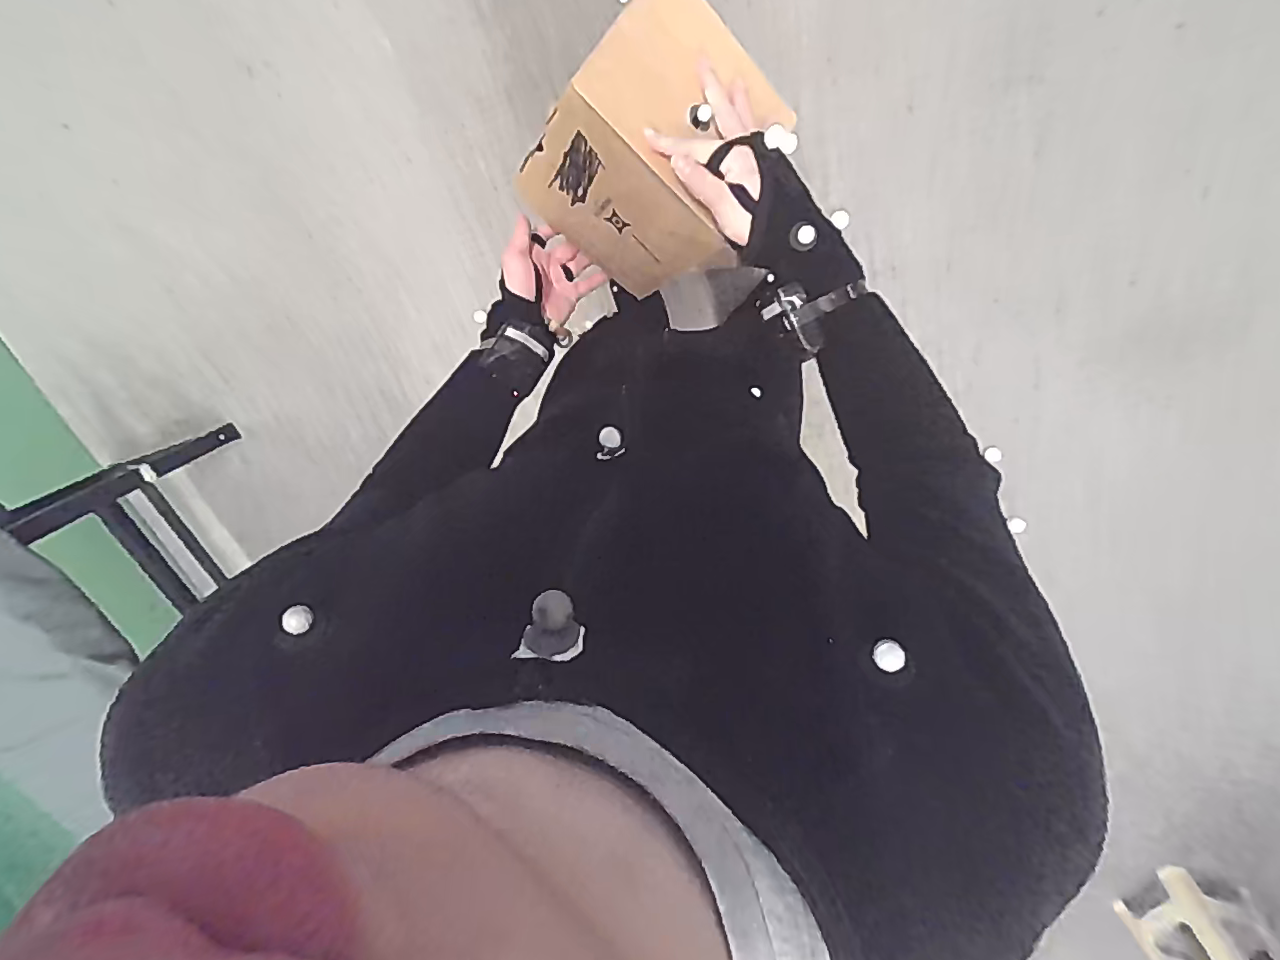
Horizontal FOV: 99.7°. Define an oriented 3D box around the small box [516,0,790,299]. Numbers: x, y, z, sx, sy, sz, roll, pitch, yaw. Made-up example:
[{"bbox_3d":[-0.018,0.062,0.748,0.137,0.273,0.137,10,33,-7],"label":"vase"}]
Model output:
[{"bbox_3d":[0.012,-0.320,0.536,0.179,0.168,0.176,34,75,-24],"label":"small box"}]
